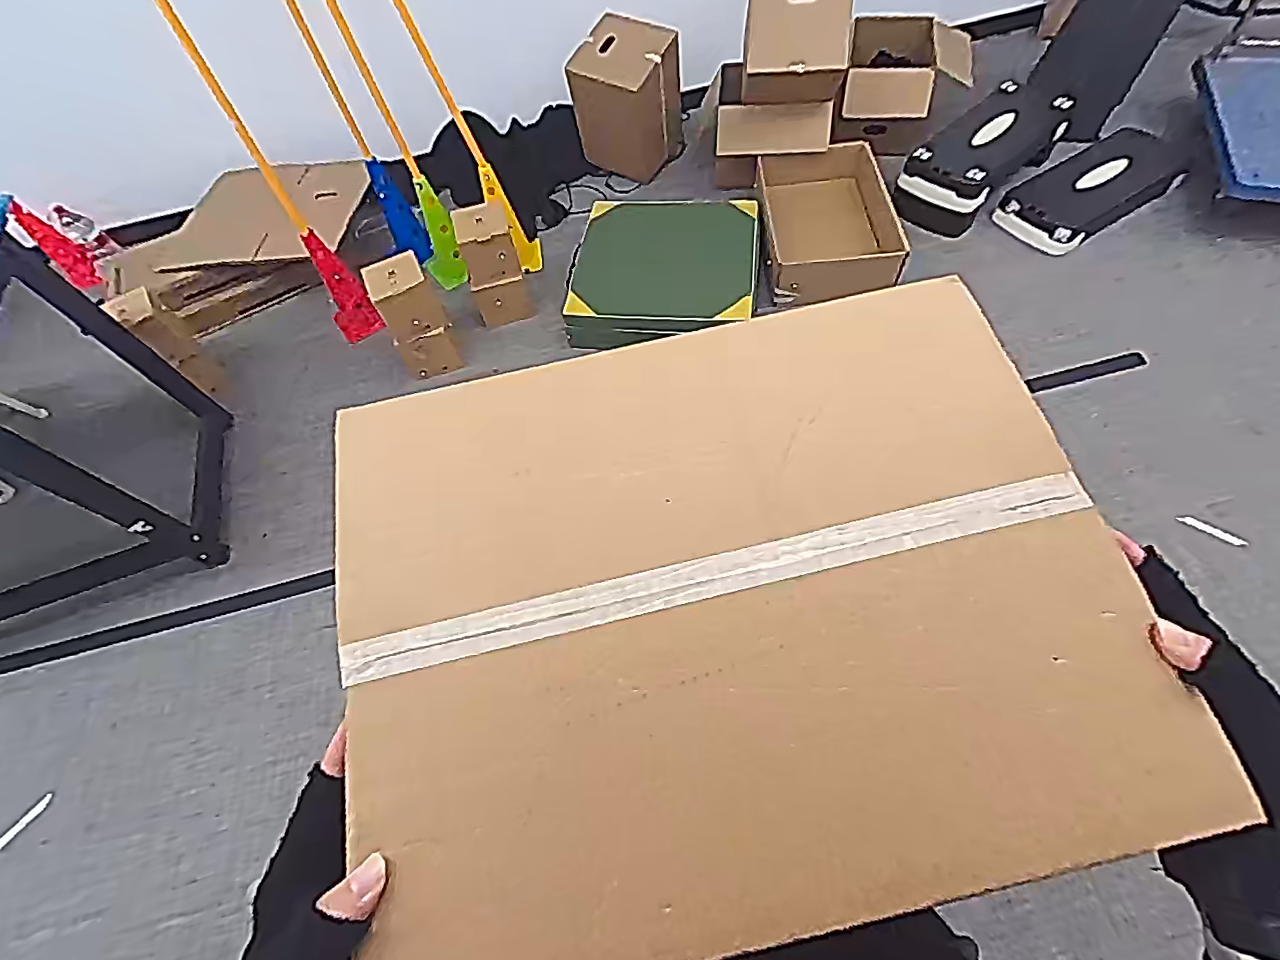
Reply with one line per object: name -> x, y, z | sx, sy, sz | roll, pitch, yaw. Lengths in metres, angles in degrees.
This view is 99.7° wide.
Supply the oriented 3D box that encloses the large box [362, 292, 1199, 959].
large box -> 0.051, 0.110, 0.444 | 0.408, 0.320, 0.320 | -13, 69, -2
